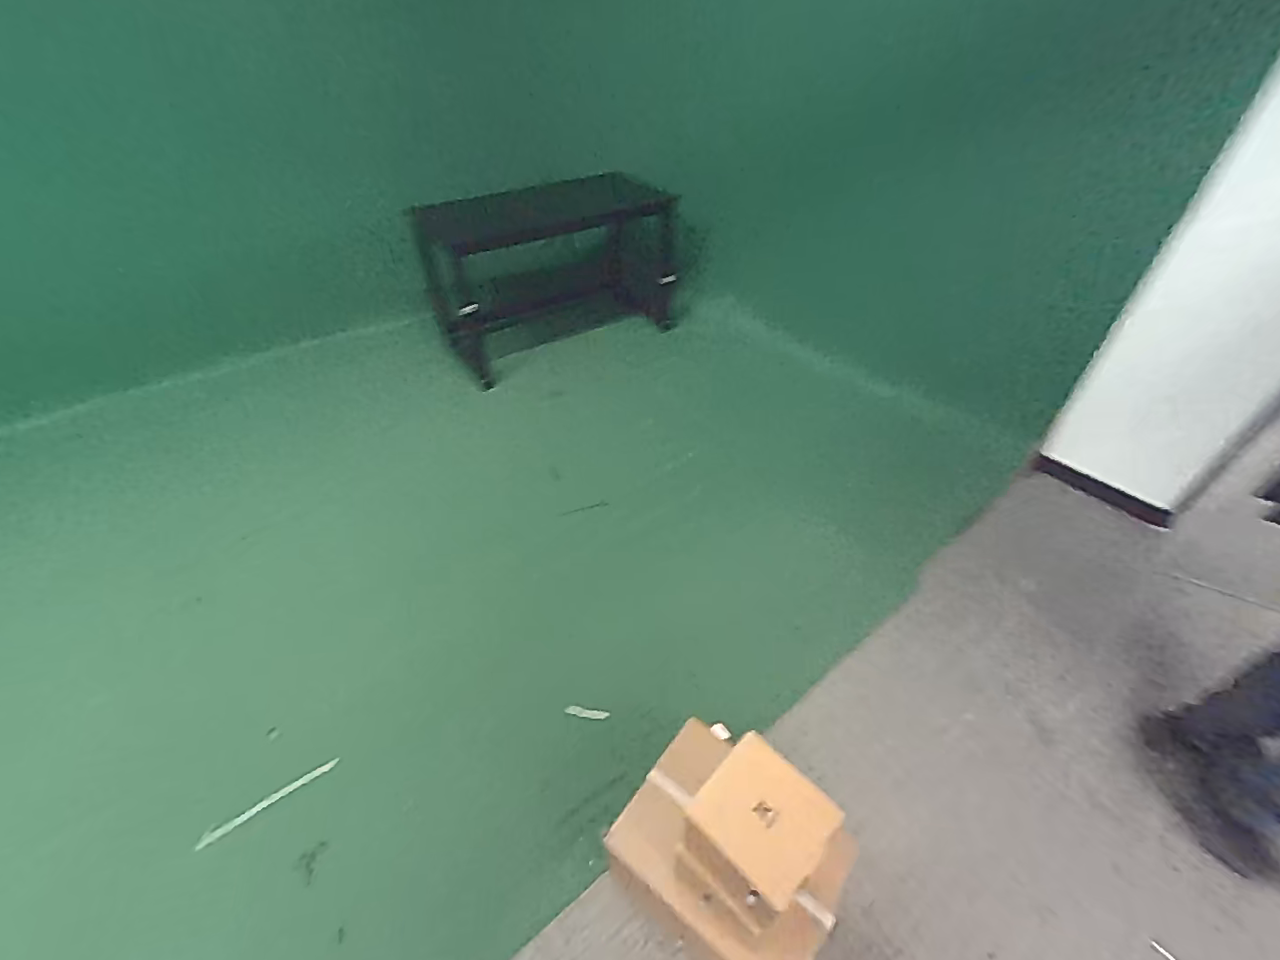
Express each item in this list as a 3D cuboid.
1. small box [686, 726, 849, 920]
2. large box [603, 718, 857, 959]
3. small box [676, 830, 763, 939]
[{"bbox_3d":[0.186,0.533,0.841,0.168,0.176,0.179,-34,53,-31],"label":"small box"},{"bbox_3d":[0.178,0.806,1.147,0.408,0.320,0.320,27,48,28],"label":"large box"},{"bbox_3d":[0.178,0.653,0.950,0.168,0.176,0.179,34,53,30],"label":"small box"}]
